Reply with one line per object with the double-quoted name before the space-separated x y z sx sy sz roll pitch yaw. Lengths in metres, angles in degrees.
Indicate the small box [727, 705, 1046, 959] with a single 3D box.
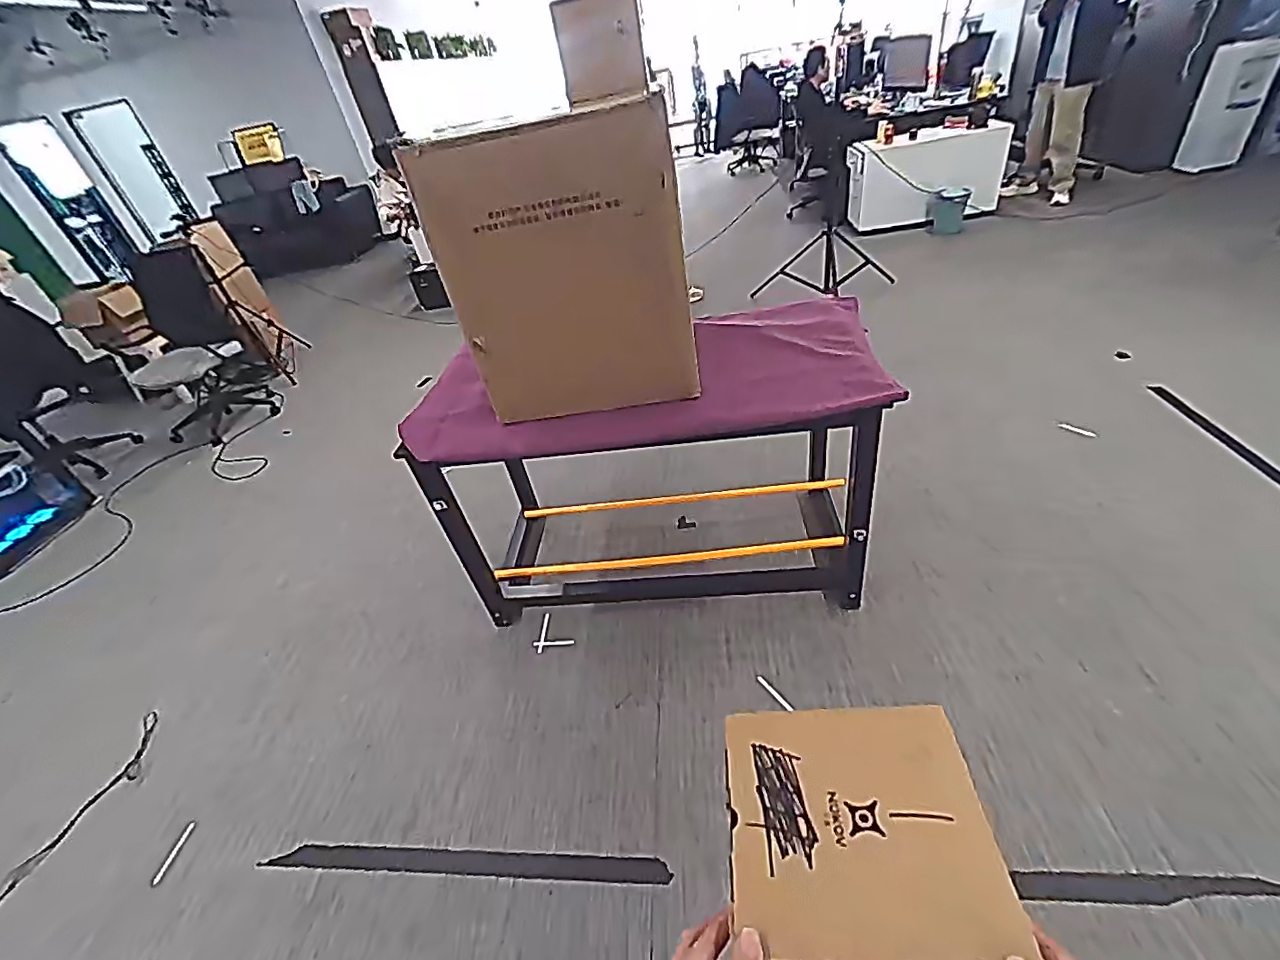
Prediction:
"small box" 0.170 0.302 0.424 0.179 0.176 0.168 -7 34 11
